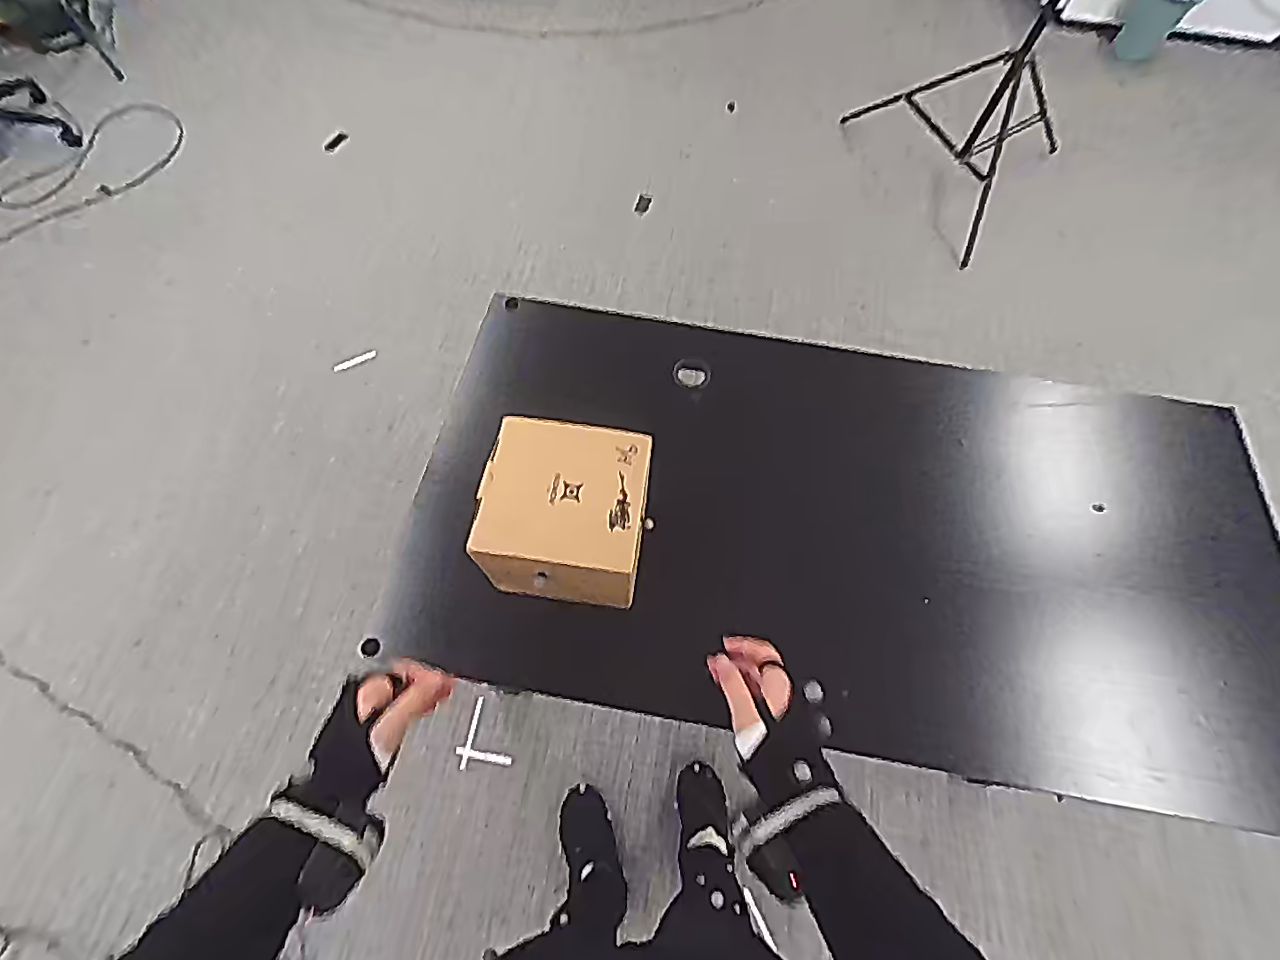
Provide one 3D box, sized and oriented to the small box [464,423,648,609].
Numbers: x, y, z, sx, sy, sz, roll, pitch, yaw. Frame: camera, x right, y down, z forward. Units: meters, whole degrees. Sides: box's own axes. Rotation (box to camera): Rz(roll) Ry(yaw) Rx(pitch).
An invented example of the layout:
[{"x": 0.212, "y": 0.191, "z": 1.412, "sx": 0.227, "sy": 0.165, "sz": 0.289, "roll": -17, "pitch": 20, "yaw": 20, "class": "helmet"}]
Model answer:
[{"x": -0.088, "y": 0.052, "z": 0.663, "sx": 0.179, "sy": 0.176, "sz": 0.168, "roll": 8, "pitch": 64, "yaw": 2, "class": "small box"}]
